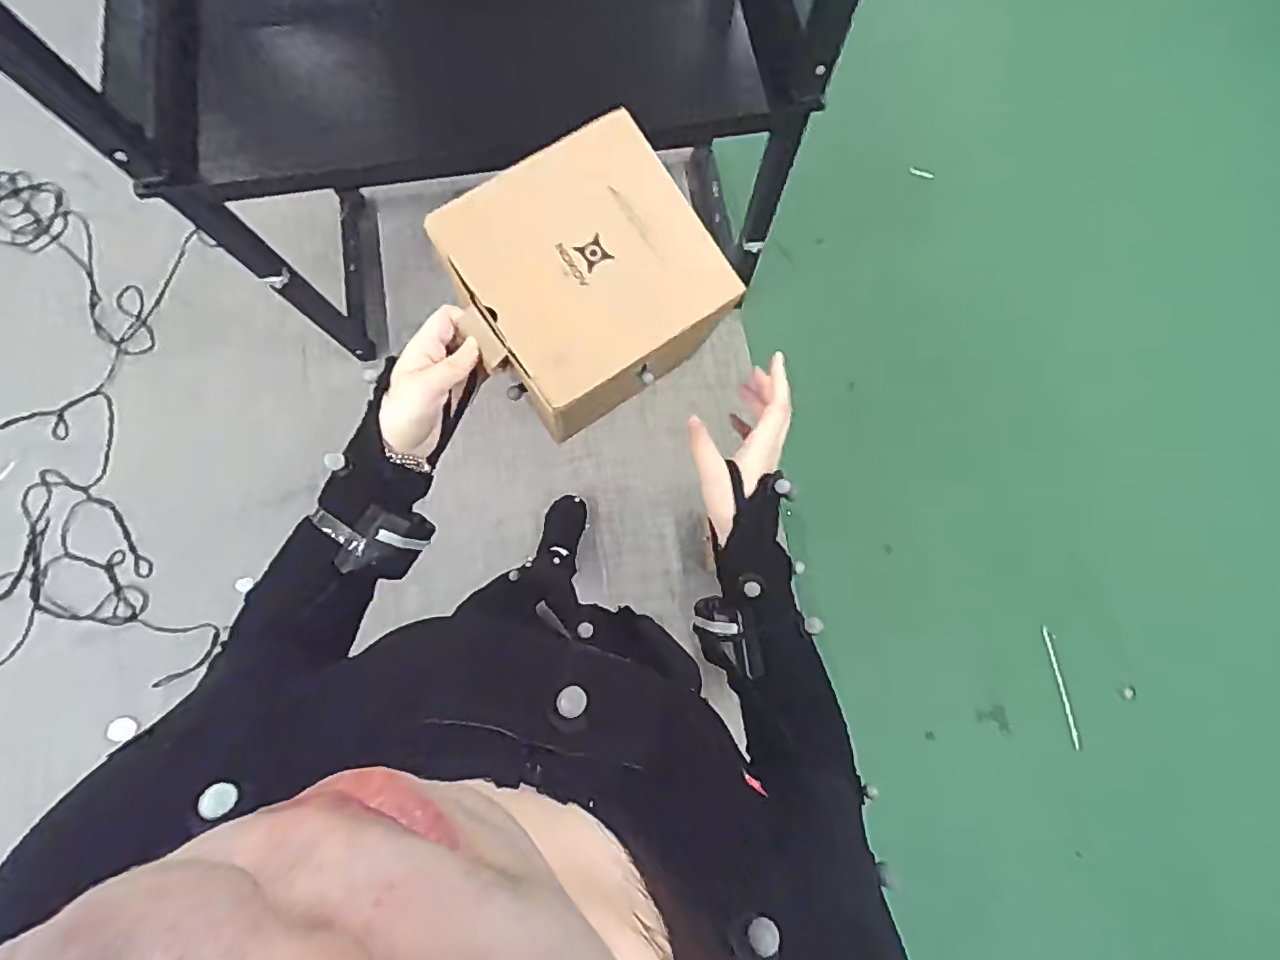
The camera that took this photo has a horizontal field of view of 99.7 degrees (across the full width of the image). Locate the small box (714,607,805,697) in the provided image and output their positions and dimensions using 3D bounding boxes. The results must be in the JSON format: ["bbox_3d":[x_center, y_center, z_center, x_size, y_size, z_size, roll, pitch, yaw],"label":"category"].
[{"bbox_3d":[0.297,0.432,1.388,0.168,0.176,0.179,-15,80,-3],"label":"small box"}]
